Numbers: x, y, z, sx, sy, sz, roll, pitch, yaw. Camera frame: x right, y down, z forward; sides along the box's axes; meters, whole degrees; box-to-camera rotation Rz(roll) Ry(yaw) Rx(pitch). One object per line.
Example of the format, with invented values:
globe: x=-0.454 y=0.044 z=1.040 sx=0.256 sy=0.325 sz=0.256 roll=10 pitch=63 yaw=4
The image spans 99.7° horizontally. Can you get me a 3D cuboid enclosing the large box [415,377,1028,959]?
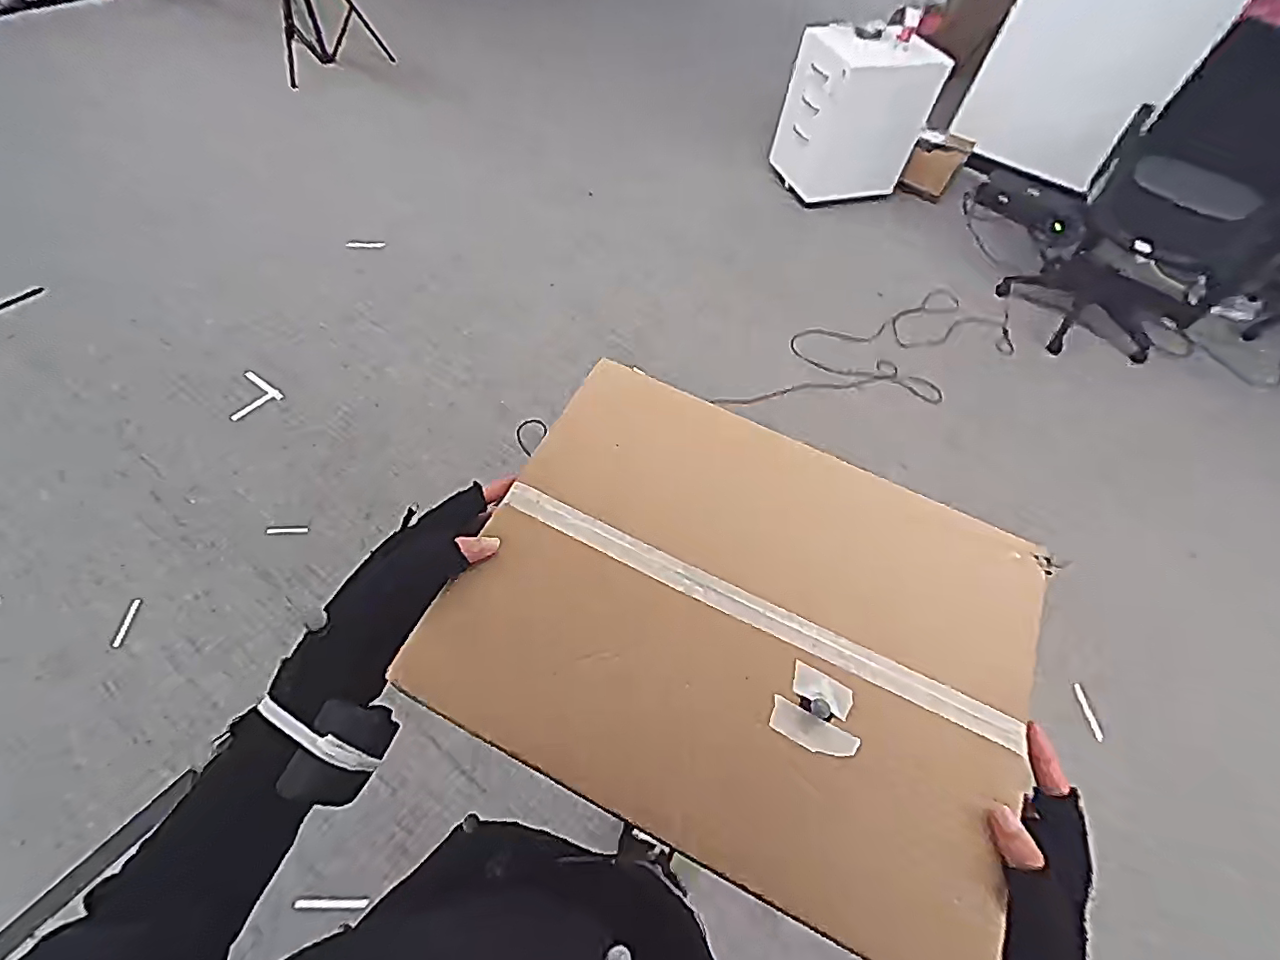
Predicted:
large box: x=0.071 y=0.168 z=0.544 sx=0.408 sy=0.320 sz=0.320 roll=25 pitch=64 yaw=8
